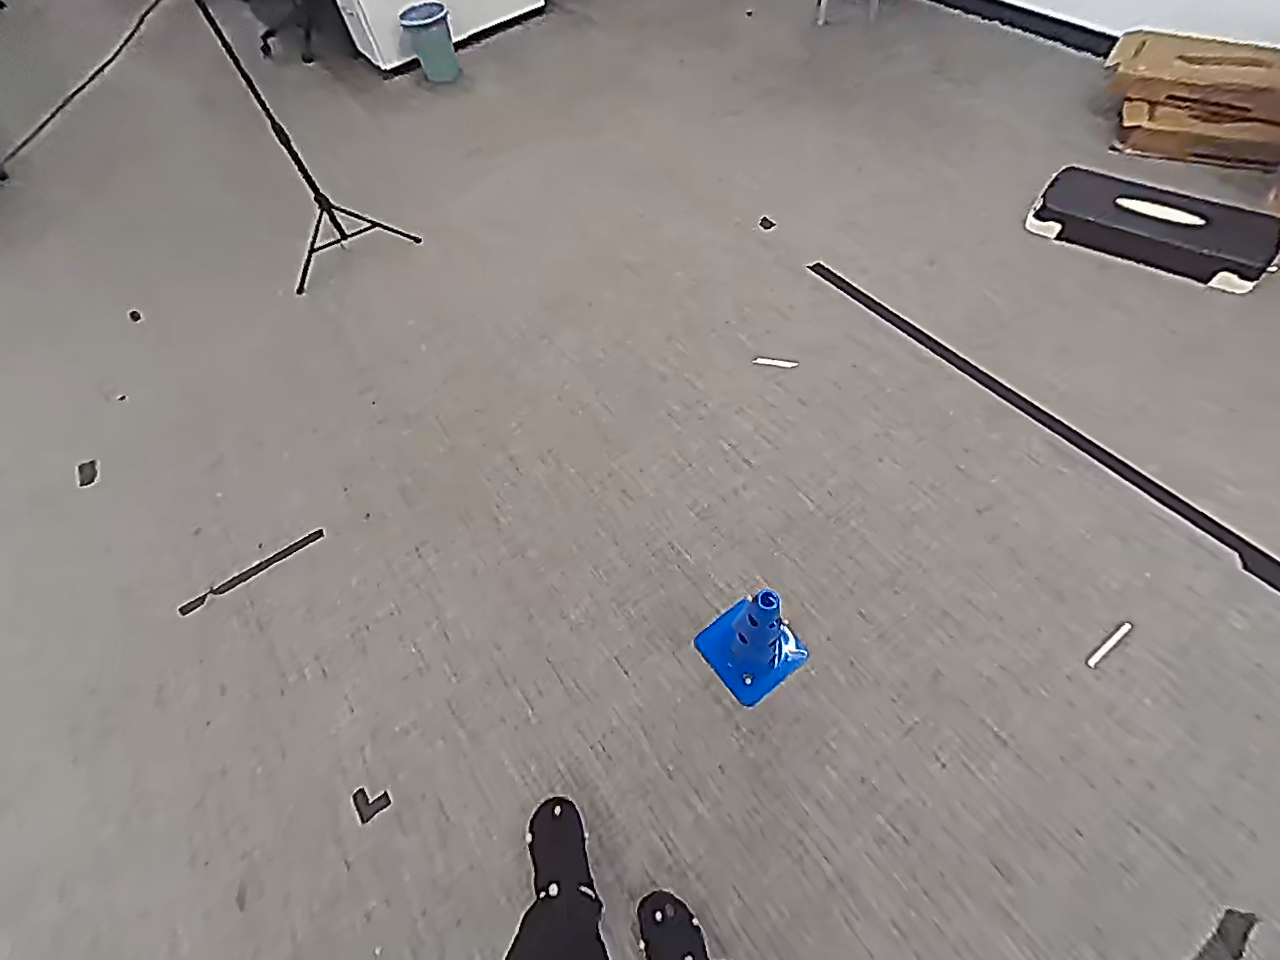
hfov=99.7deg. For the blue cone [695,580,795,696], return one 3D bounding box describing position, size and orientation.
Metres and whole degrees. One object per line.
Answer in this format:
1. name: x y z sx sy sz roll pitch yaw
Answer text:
1. blue cone: 0.231 0.300 1.129 0.193 0.380 0.192 -33 61 -14
